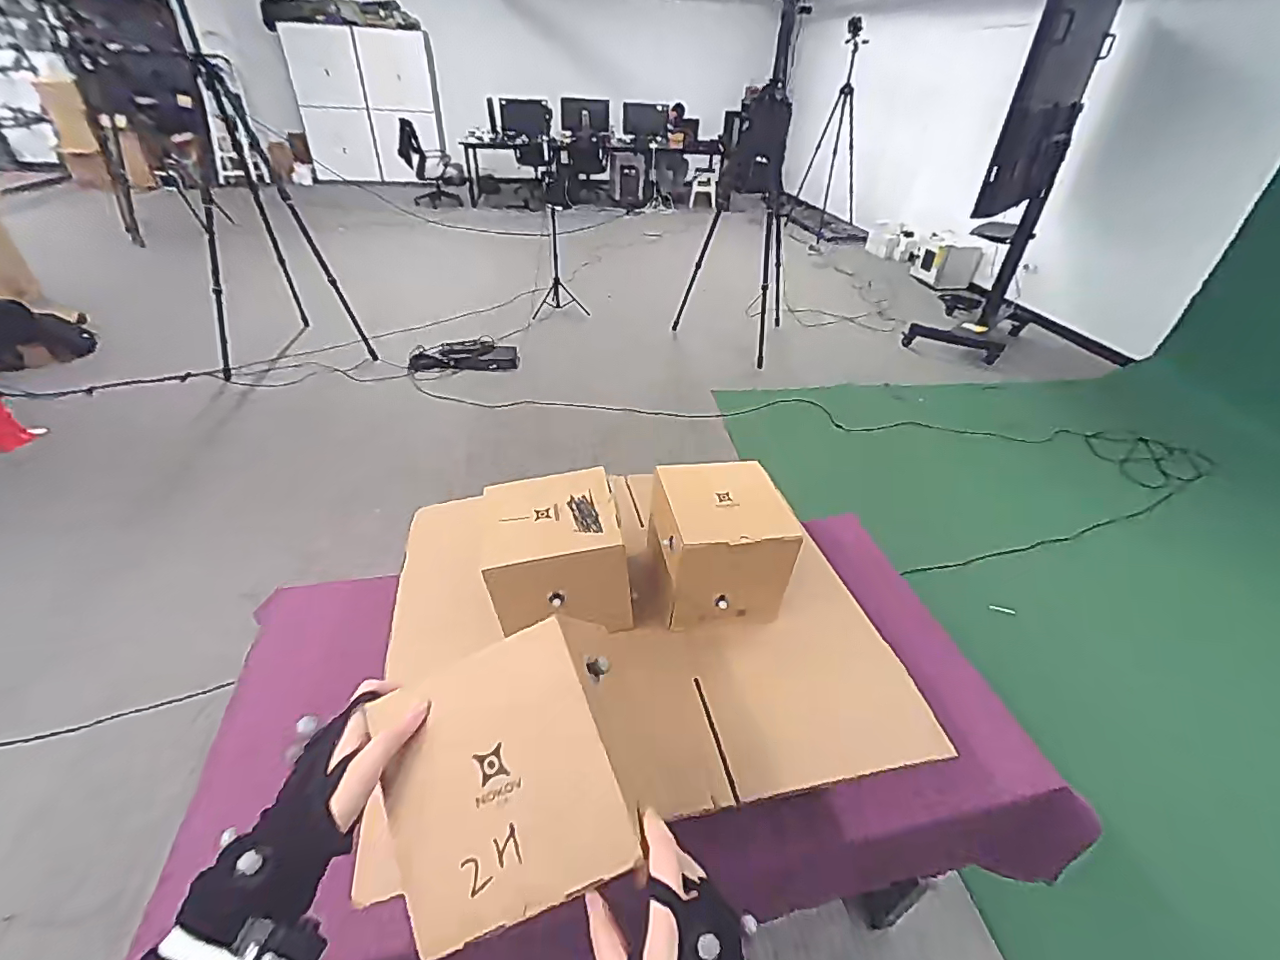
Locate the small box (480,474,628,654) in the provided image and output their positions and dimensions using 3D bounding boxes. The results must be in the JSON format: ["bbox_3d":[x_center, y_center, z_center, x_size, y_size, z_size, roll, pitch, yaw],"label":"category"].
[{"bbox_3d":[-0.116,0.117,0.763,0.179,0.176,0.168,-11,38,-6],"label":"small box"}]

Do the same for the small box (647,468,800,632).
[{"bbox_3d":[0.109,0.100,0.804,0.168,0.176,0.179,-3,38,-11],"label":"small box"}]
